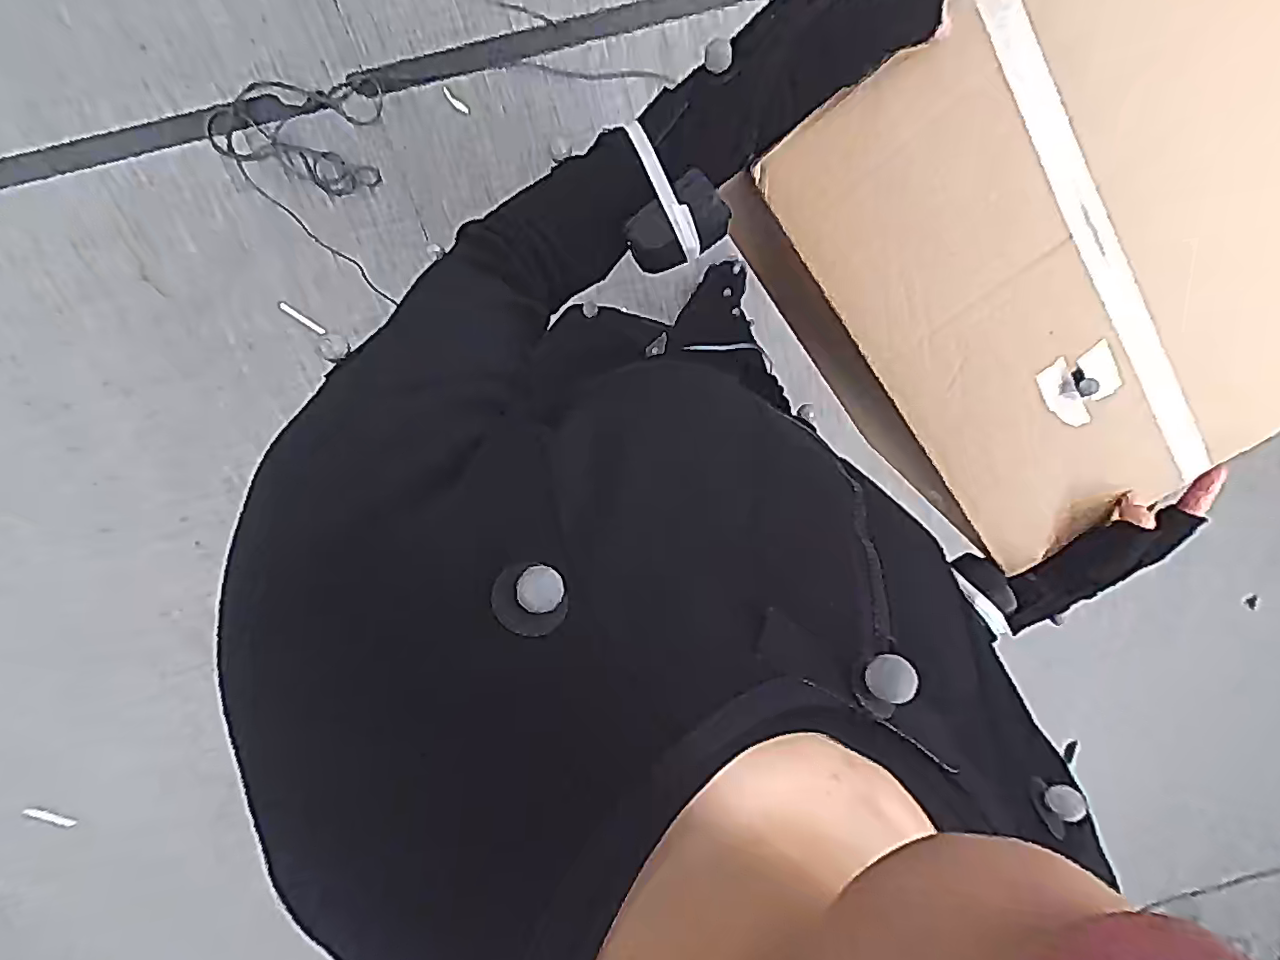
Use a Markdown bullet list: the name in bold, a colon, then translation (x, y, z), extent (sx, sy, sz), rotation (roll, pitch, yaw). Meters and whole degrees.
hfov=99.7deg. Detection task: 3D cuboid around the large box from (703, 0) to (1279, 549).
- **large box**: translation (0.312, -0.223, 0.516), extent (0.320, 0.320, 0.408), rotation (-35, 111, 17)
